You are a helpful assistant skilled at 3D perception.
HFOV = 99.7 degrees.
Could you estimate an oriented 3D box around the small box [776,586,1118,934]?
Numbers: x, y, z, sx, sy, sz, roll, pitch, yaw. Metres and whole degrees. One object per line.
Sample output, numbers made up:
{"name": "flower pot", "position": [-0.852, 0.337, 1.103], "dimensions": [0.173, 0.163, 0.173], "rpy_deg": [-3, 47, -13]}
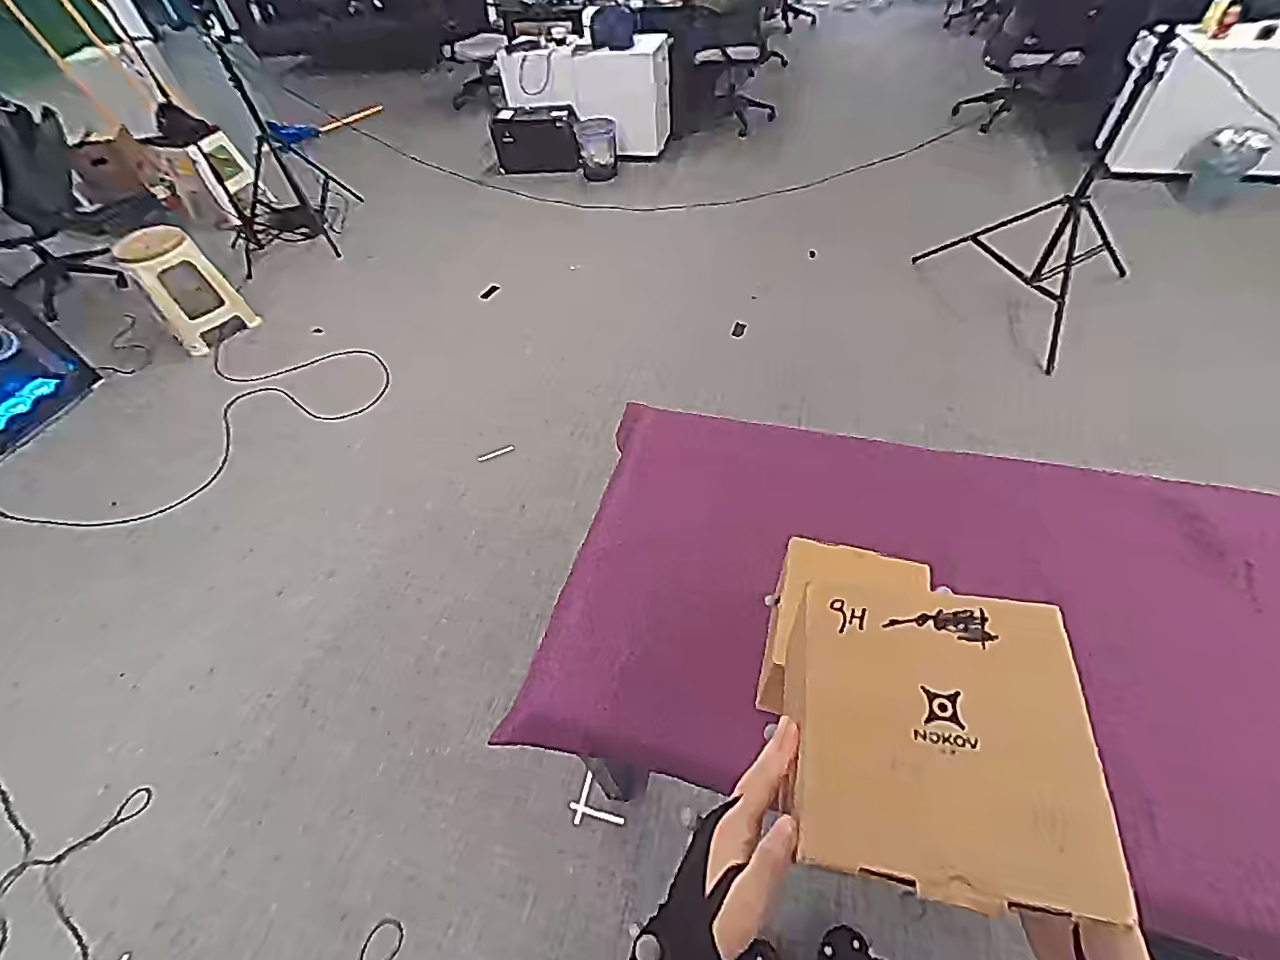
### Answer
{"name": "small box", "position": [0.195, 0.201, 0.405], "dimensions": [0.168, 0.176, 0.179], "rpy_deg": [5, 57, 12]}

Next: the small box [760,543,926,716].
{"name": "small box", "position": [0.252, 0.212, 0.691], "dimensions": [0.168, 0.176, 0.179], "rpy_deg": [11, 51, 14]}
